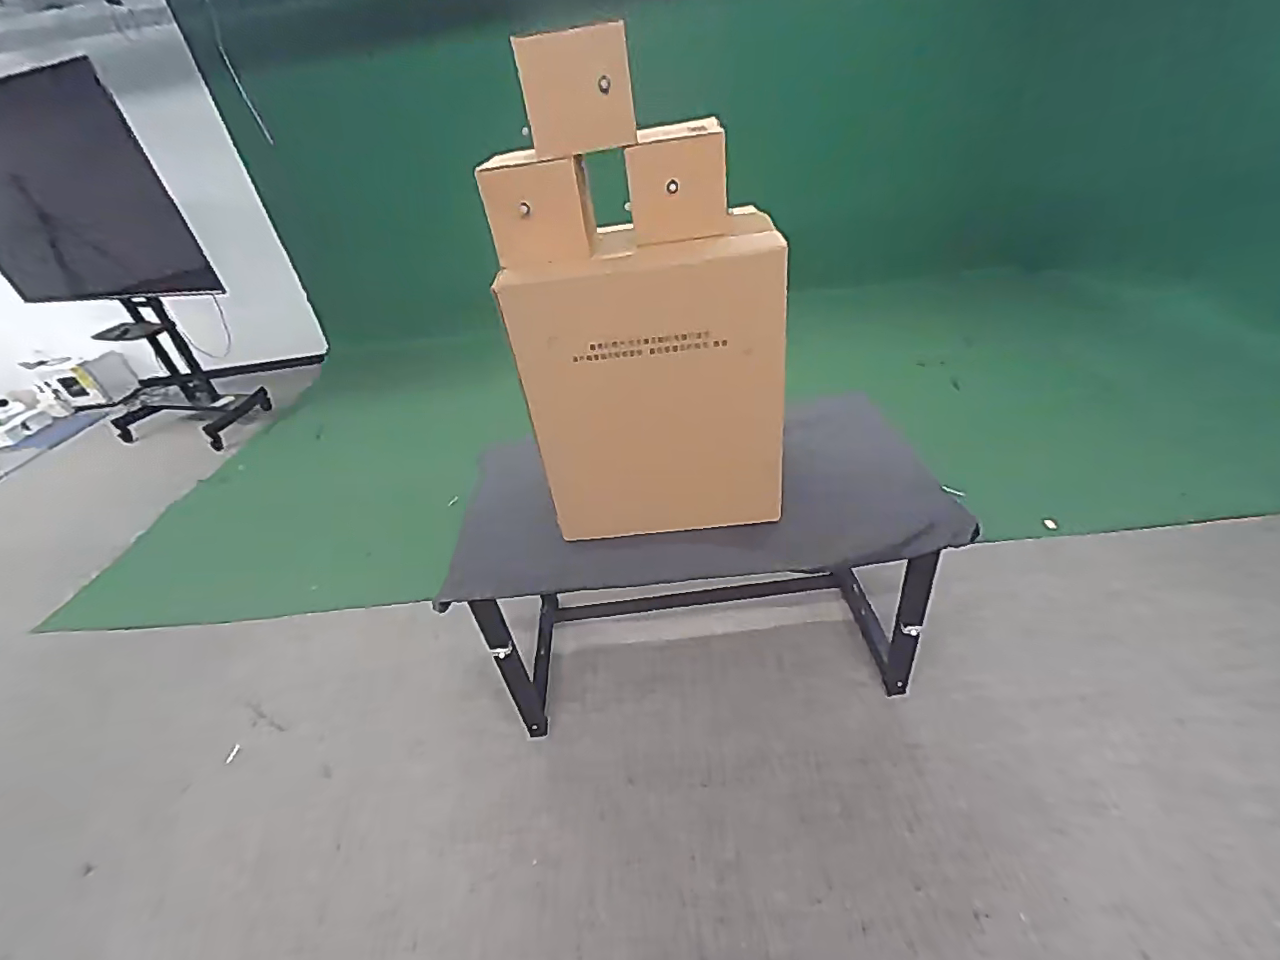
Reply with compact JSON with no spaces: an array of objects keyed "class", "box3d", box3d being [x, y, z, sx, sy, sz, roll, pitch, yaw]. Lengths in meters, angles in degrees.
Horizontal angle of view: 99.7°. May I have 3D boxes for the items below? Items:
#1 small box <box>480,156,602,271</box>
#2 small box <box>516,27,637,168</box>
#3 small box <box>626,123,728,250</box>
[{"class":"small box","box3d":[-0.180,-0.515,1.038,0.179,0.176,0.168,-5,39,6]},{"class":"small box","box3d":[-0.105,-0.656,0.934,0.179,0.176,0.168,-13,37,-2]},{"class":"small box","box3d":[0.075,-0.558,1.032,0.179,0.176,0.168,-6,39,7]}]
